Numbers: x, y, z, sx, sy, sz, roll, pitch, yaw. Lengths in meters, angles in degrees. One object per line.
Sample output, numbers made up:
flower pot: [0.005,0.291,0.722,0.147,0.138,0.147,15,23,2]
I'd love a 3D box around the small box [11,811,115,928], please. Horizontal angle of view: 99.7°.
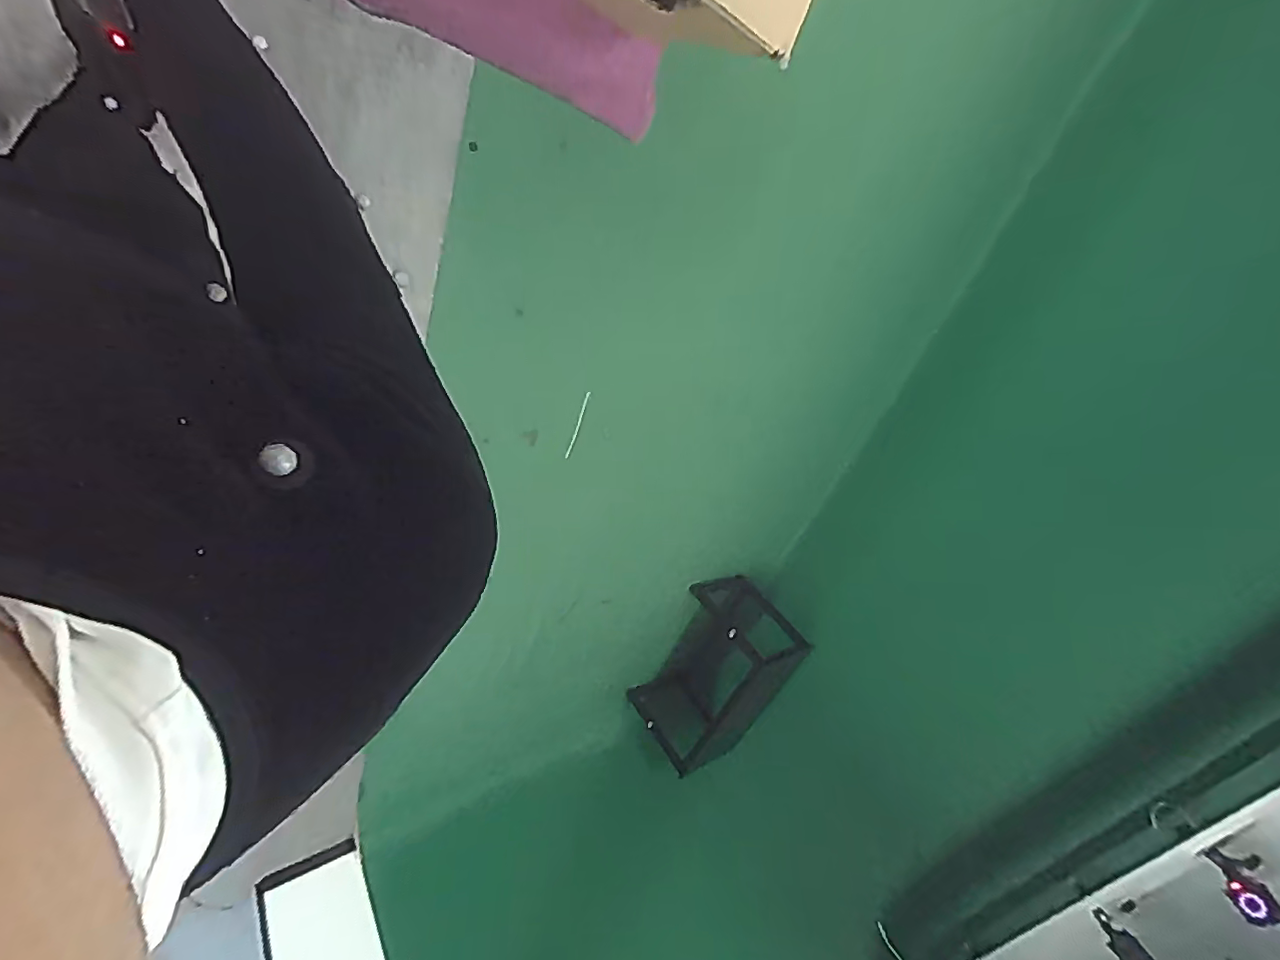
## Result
small box: [-1.523,1.026,1.439,0.168,0.176,0.179,-9,134,-40]

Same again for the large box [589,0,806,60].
large box: [0.031,-0.711,0.501,0.320,0.320,0.408,-5,130,-40]
